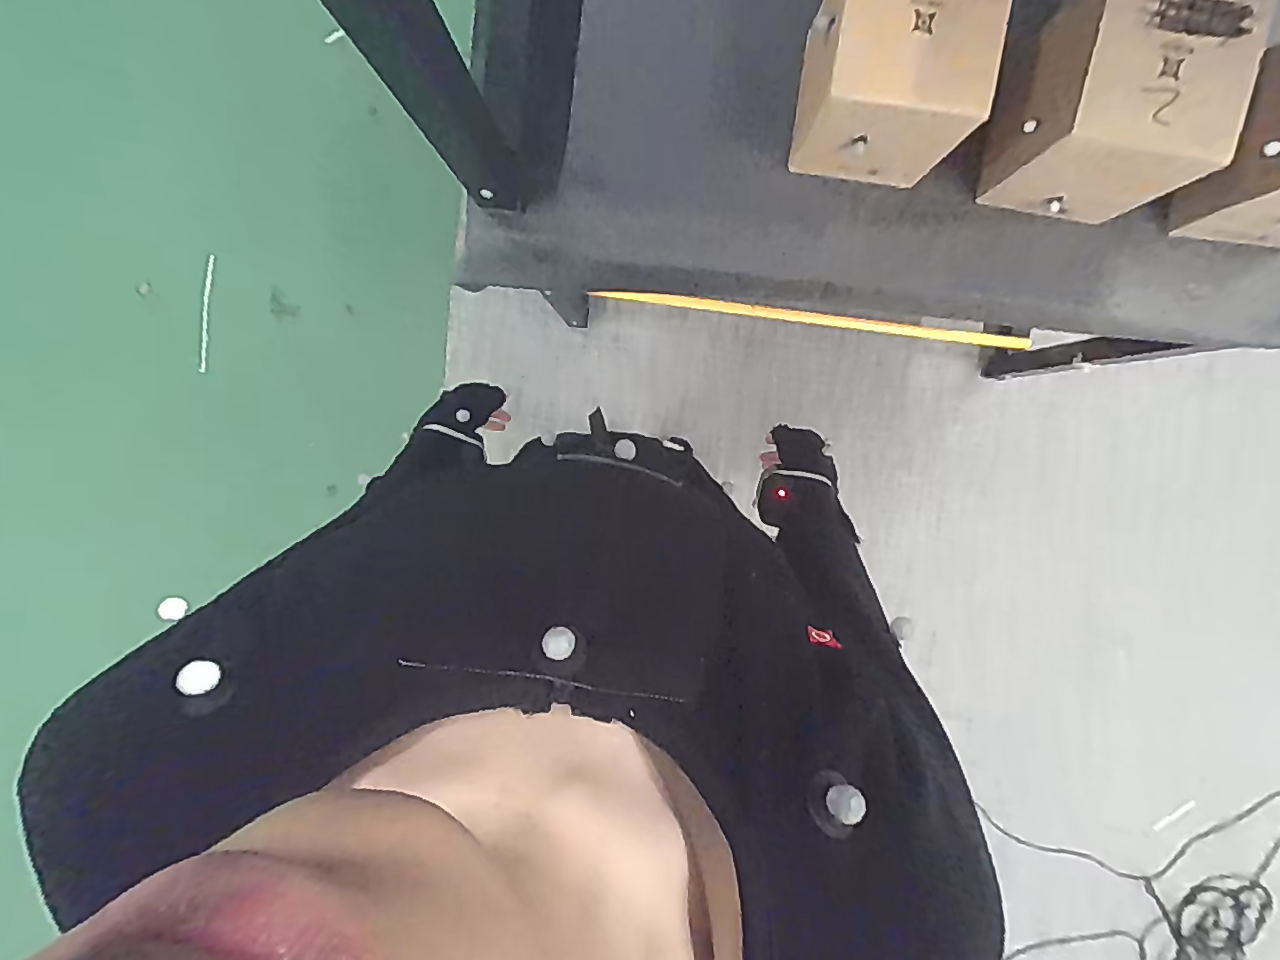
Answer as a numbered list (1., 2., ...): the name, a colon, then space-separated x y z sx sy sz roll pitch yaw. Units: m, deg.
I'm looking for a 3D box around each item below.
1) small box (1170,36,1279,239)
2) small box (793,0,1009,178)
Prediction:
1. small box: 0.772 -0.396 0.617 0.168 0.176 0.179 7 95 0
2. small box: 0.285 -0.477 0.620 0.168 0.176 0.179 8 95 0
